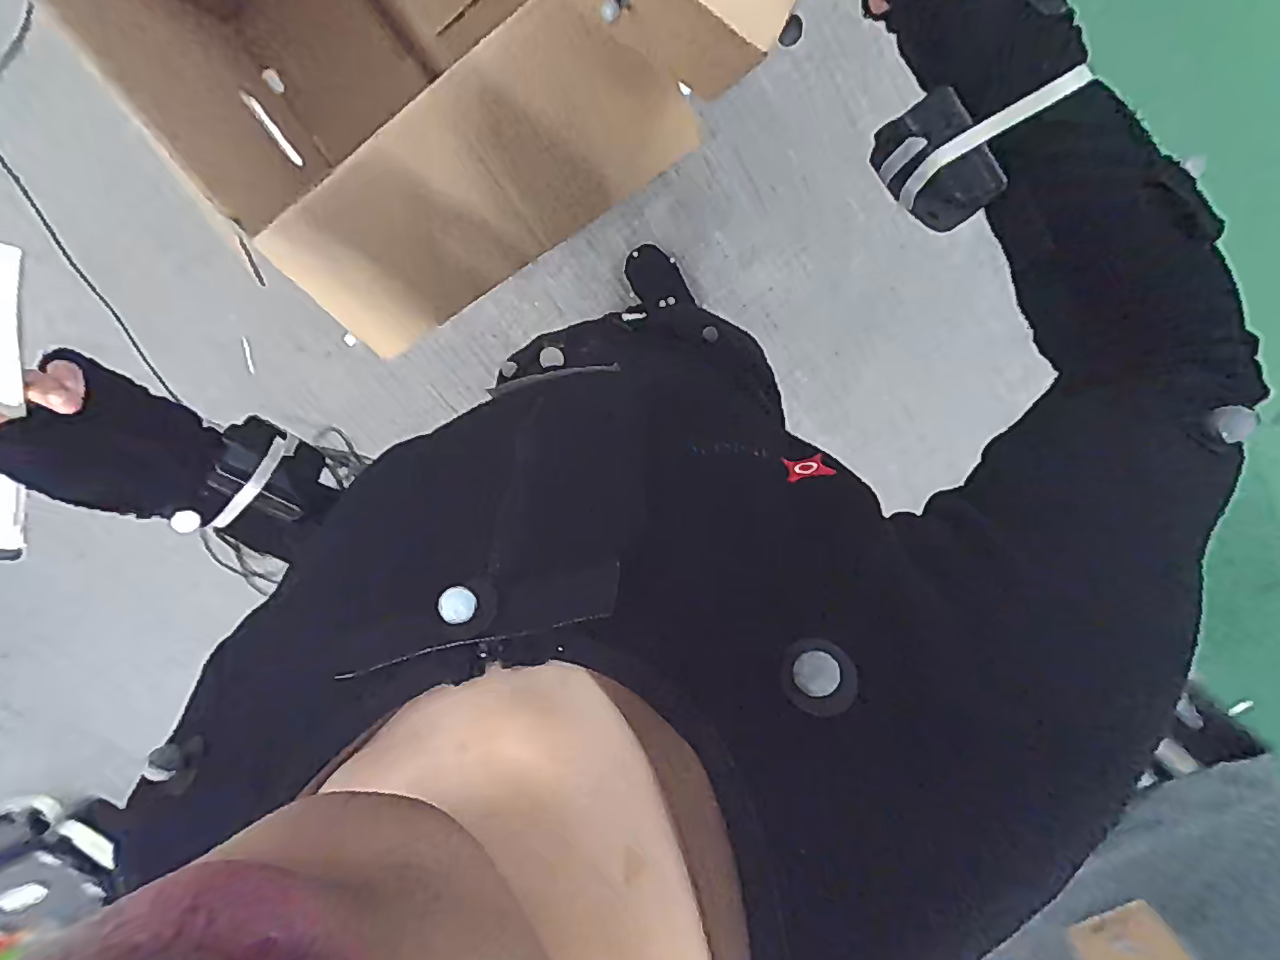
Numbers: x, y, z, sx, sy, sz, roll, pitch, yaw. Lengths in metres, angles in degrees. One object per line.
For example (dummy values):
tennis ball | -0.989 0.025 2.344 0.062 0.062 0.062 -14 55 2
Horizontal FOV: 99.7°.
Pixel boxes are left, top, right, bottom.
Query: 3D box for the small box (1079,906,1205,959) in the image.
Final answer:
small box | 0.988 0.950 1.008 0.168 0.176 0.179 -40 105 15
